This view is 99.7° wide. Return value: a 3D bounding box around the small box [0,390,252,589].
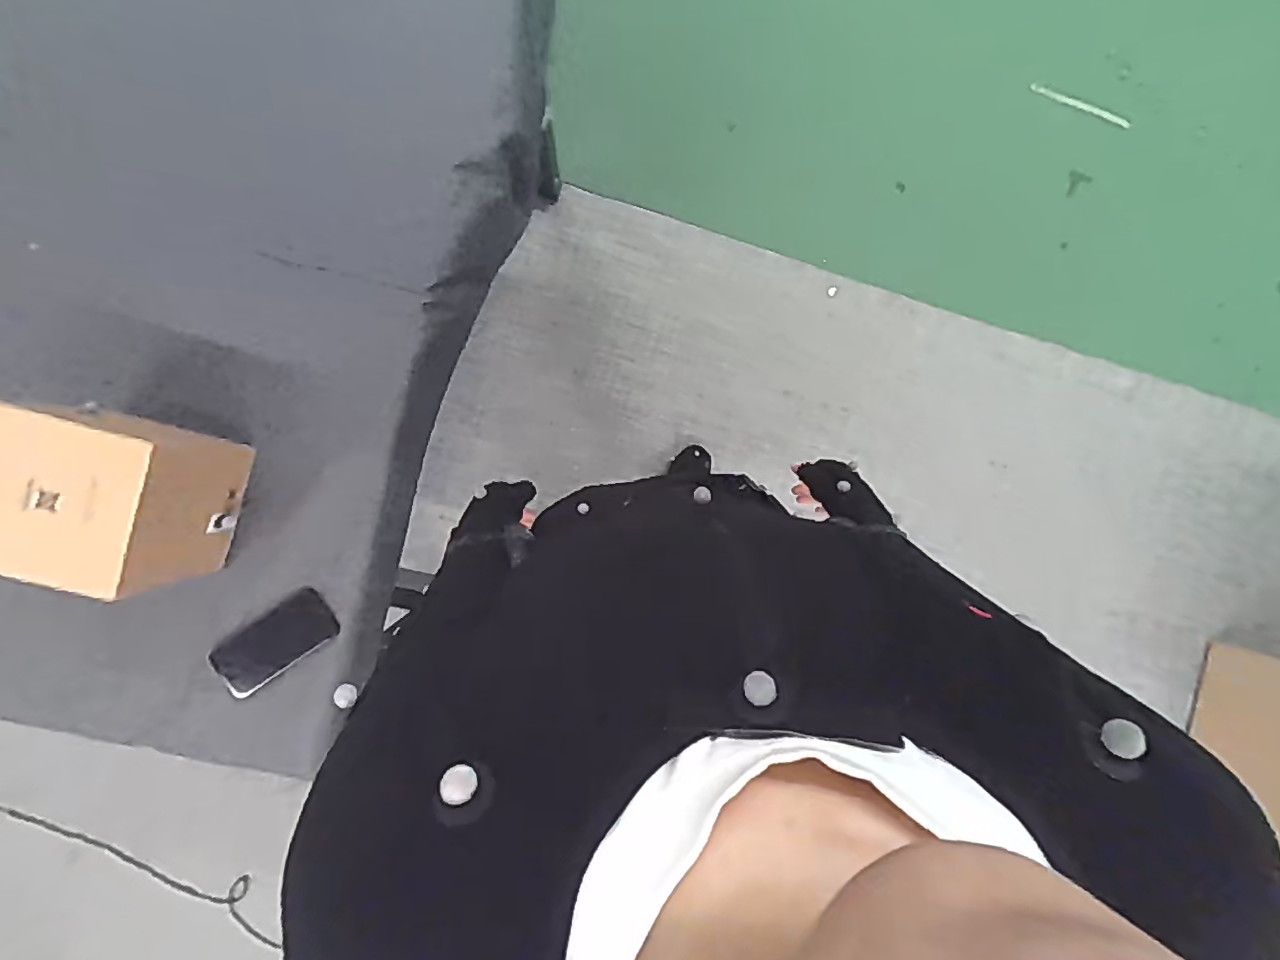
[{"bbox_3d":[-0.596,0.008,0.613,0.179,0.176,0.168,15,92,-5],"label":"small box"}]
